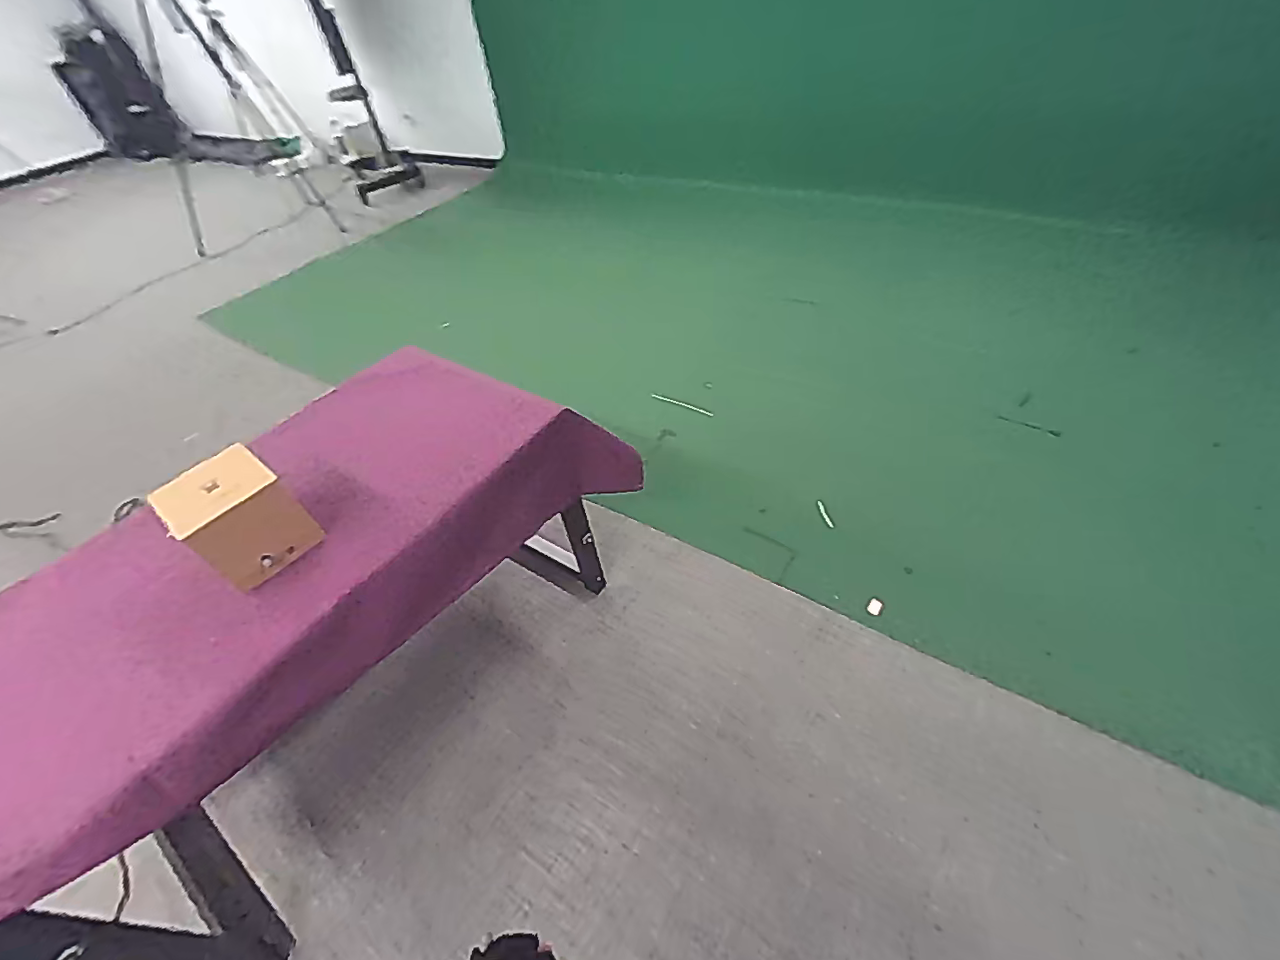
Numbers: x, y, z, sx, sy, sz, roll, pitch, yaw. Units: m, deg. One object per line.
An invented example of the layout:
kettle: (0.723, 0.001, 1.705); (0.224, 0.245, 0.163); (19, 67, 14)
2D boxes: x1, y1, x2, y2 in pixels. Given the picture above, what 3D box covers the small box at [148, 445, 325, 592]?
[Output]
small box: (-0.721, 0.071, 0.980); (0.179, 0.176, 0.168); (28, 57, 30)
